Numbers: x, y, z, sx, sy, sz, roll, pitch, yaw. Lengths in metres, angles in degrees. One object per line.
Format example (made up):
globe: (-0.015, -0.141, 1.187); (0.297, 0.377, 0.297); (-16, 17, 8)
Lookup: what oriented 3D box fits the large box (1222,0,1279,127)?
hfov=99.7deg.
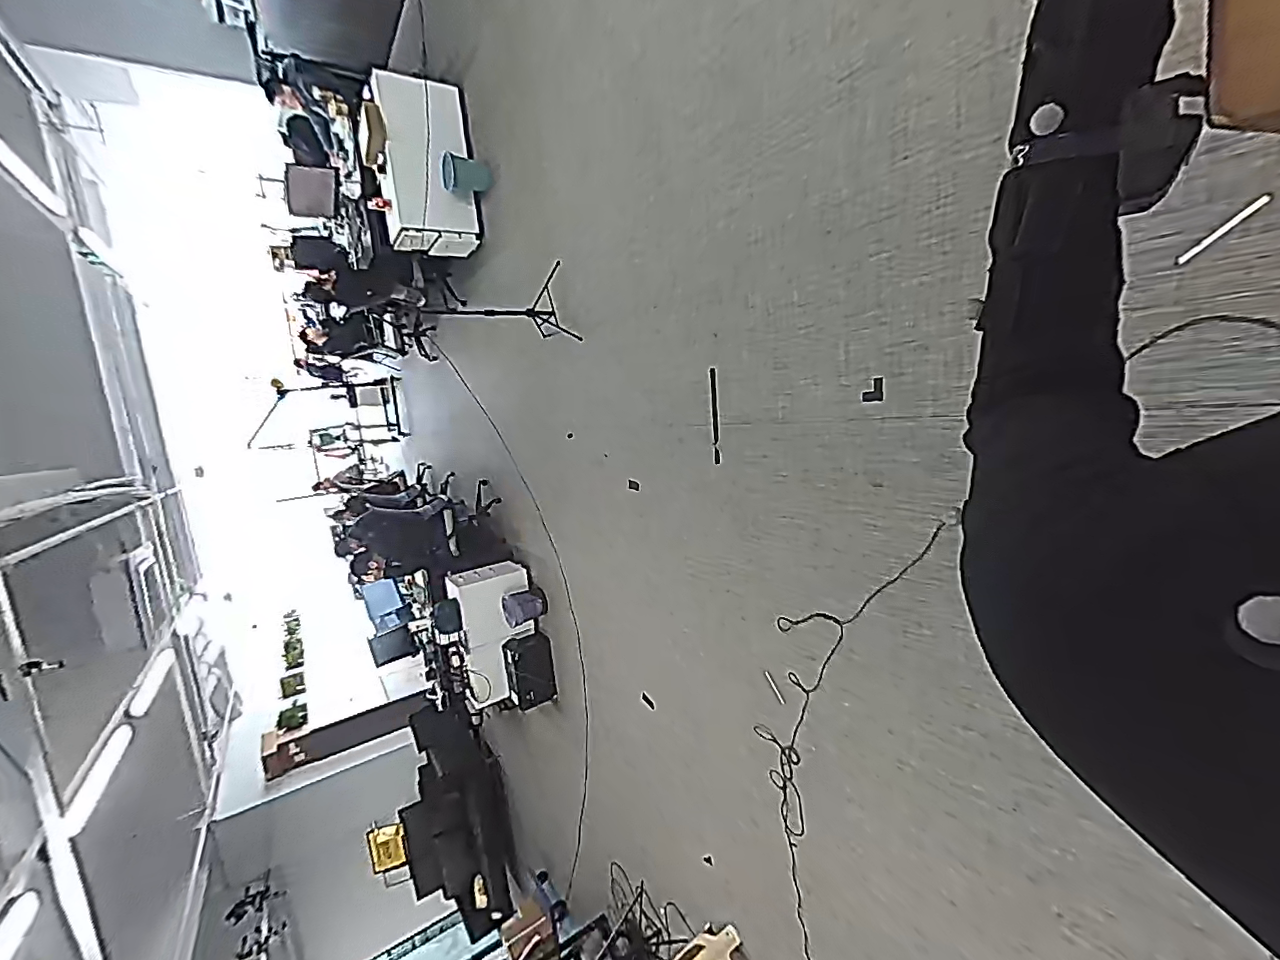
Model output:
large box: (0.518, -0.375, 0.182); (0.408, 0.320, 0.320); (7, 115, 56)
